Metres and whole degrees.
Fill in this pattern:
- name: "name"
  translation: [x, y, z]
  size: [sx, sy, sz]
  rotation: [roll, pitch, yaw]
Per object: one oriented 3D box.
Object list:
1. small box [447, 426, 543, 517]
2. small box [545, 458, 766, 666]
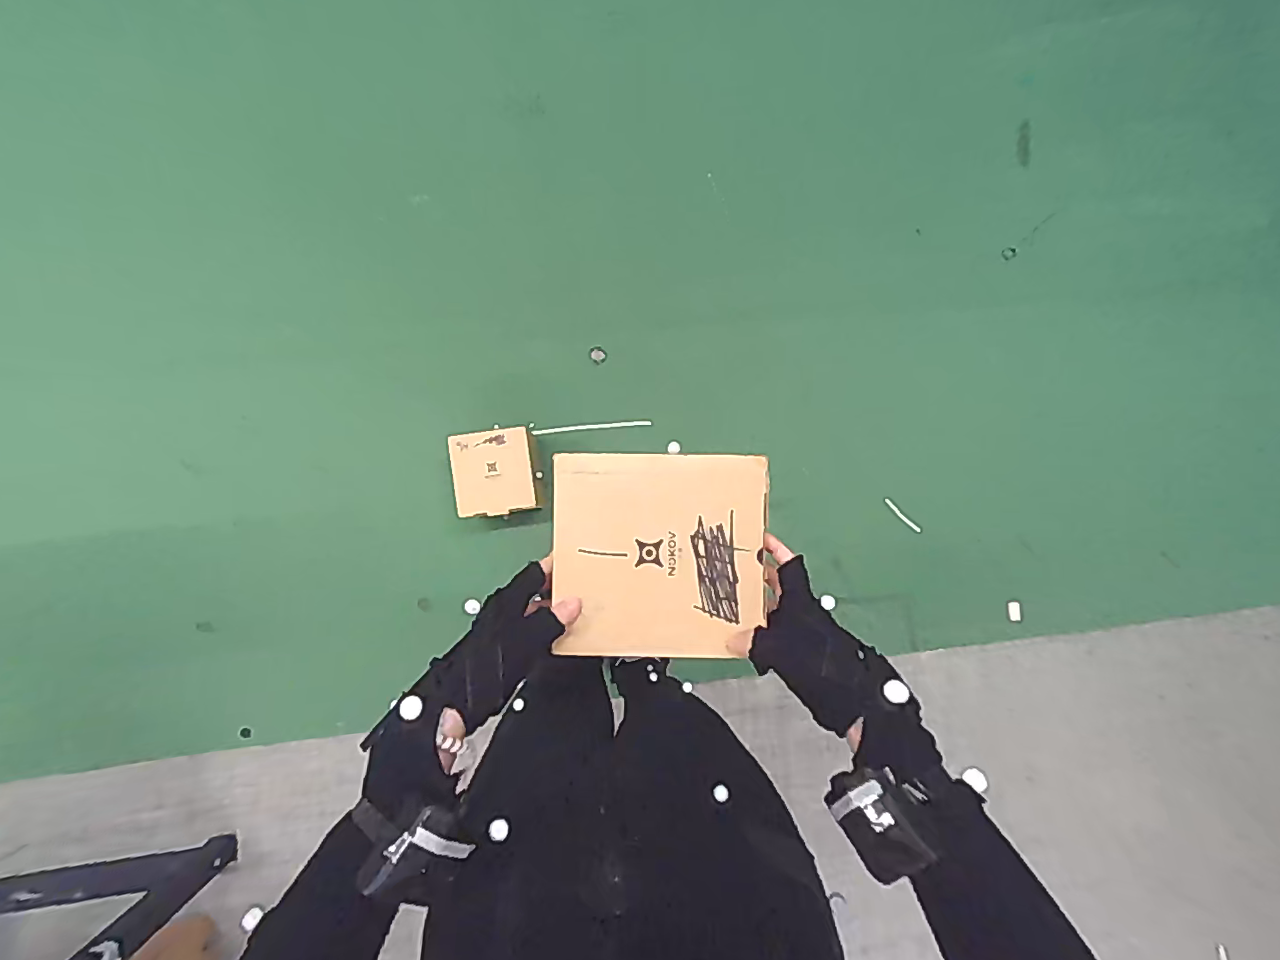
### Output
- name: "small box"
  translation: [-0.316, -0.018, 1.208]
  size: [0.168, 0.176, 0.179]
  rotation: [-8, 90, -4]
- name: "small box"
  translation: [0.013, 0.067, 0.514]
  size: [0.179, 0.176, 0.168]
  rotation: [1, 89, 1]
